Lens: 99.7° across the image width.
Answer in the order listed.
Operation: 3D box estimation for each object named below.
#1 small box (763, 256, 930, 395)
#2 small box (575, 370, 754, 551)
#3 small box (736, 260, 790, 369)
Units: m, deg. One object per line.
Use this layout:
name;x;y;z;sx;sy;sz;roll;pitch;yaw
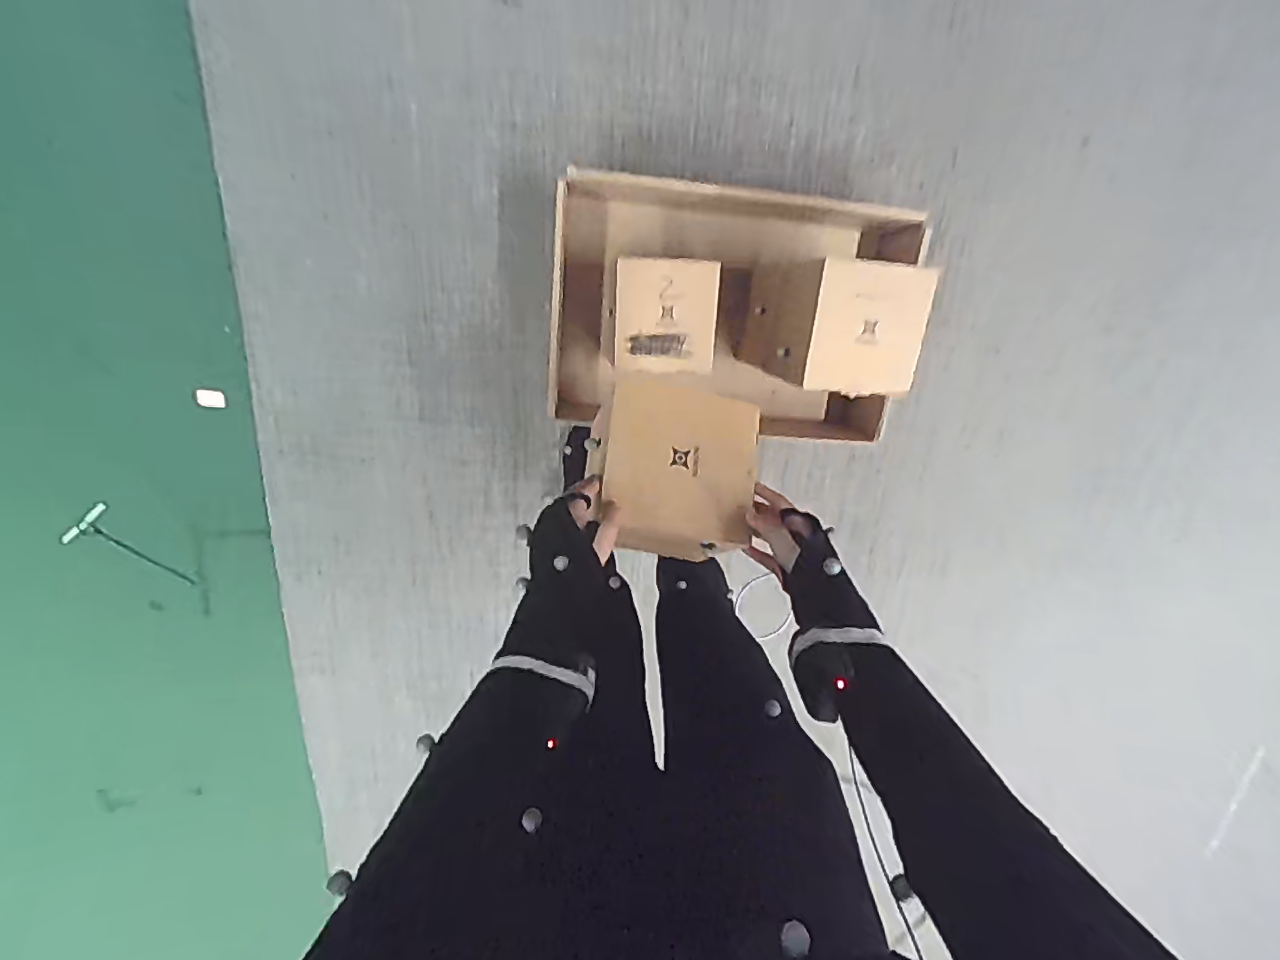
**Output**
small box;0.301;-0.237;0.829;0.168;0.176;0.179;4;108;-8
small box;0.022;-0.011;0.666;0.179;0.176;0.168;10;74;-13
small box;0.281;-0.293;0.981;0.168;0.176;0.179;4;109;-6
